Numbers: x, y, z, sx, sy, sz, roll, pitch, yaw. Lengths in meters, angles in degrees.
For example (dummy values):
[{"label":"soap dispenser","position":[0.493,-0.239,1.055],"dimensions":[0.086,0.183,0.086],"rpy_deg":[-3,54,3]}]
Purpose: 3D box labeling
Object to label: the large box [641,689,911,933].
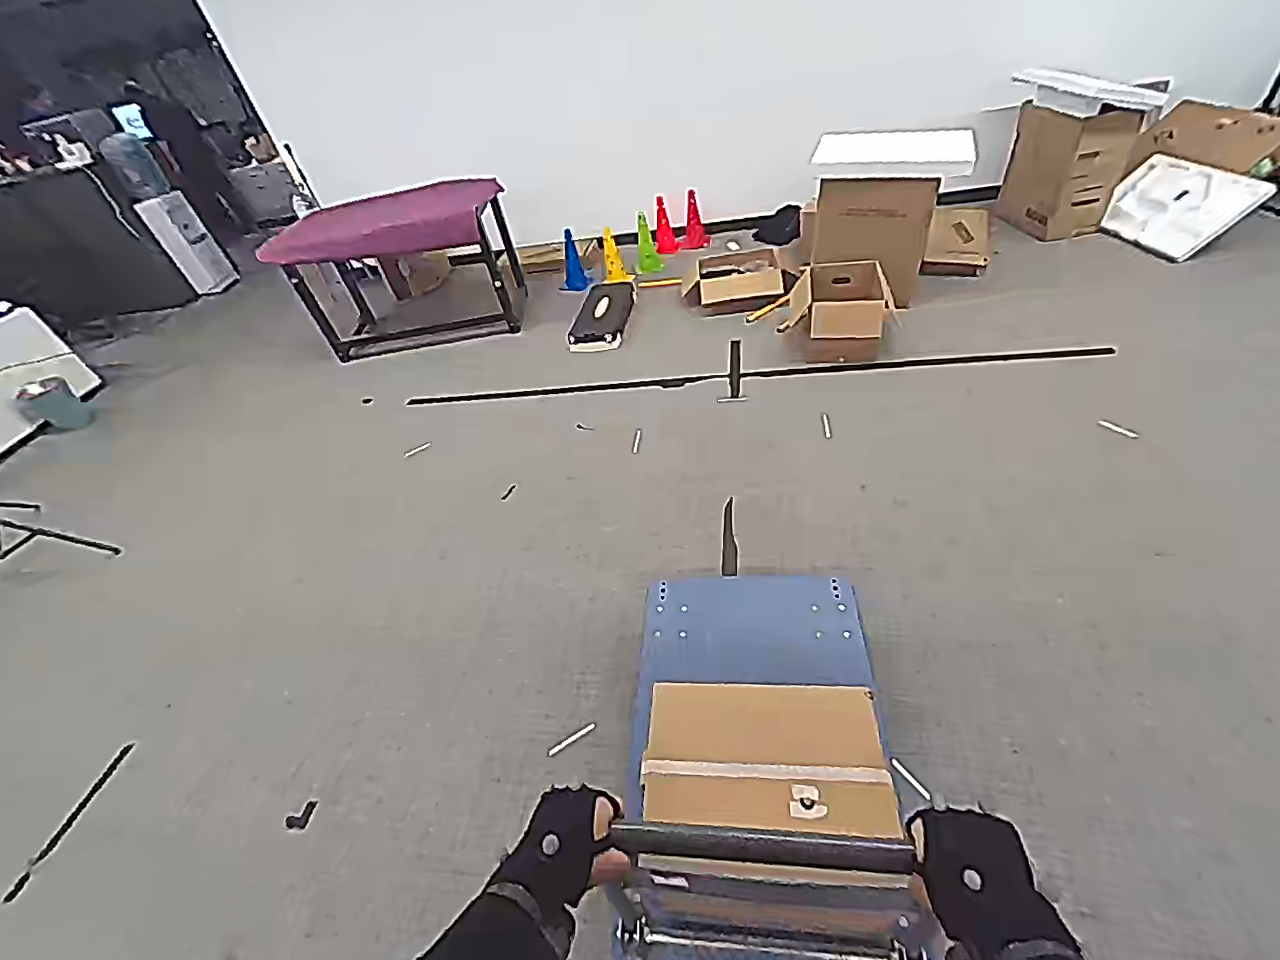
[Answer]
[{"label":"large box","position":[0.227,0.612,1.011],"dimensions":[0.408,0.320,0.320],"rpy_deg":[-2,43,10]}]
